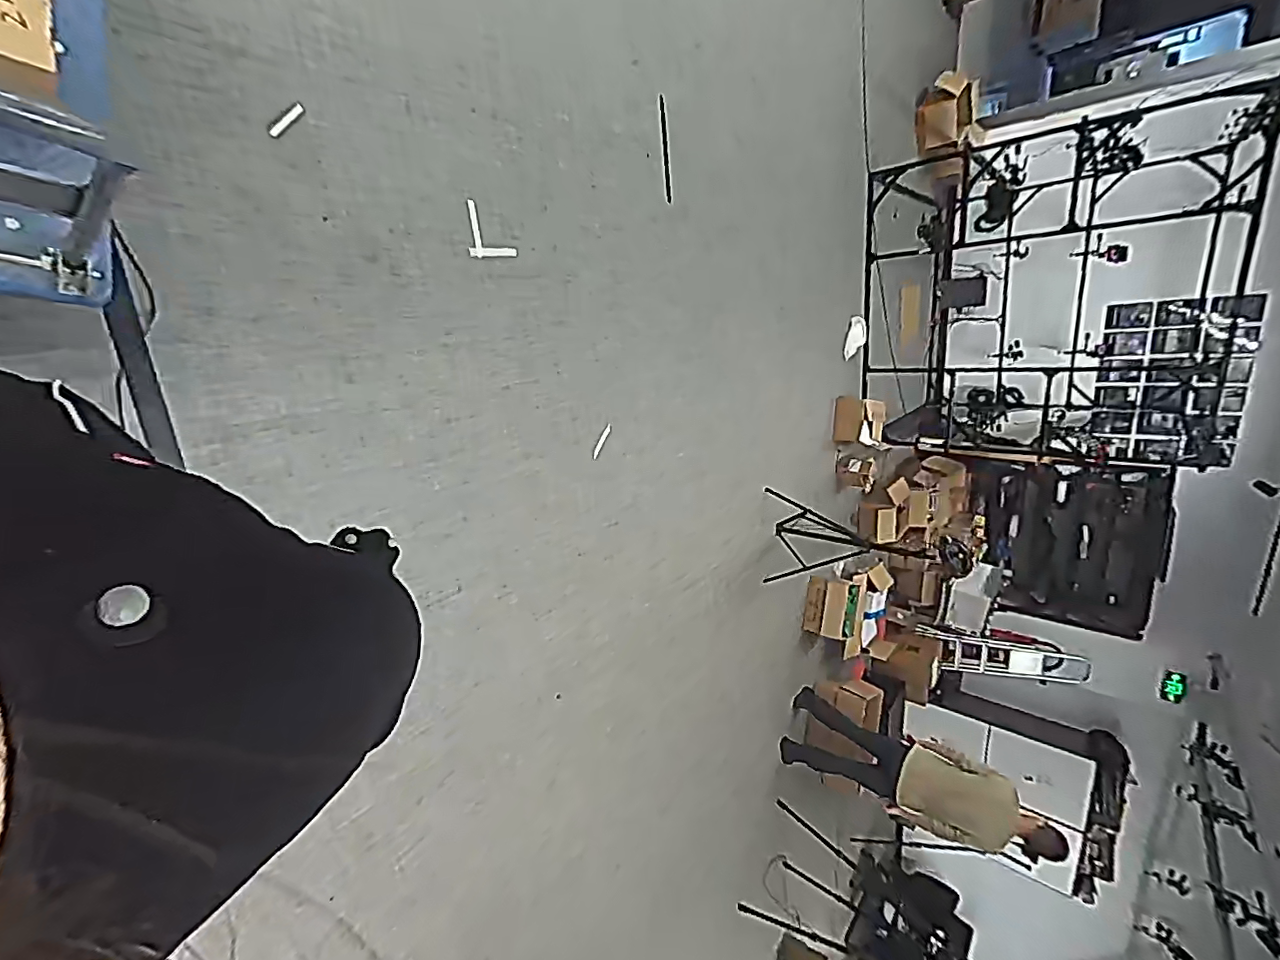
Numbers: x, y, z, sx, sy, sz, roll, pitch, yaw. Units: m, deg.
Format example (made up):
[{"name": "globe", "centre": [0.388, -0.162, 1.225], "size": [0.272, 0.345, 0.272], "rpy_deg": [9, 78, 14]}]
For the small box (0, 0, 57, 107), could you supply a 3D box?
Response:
[{"name": "small box", "centre": [-0.928, -0.647, 0.733], "size": [0.179, 0.176, 0.168], "rpy_deg": [-7, 102, -49]}]
